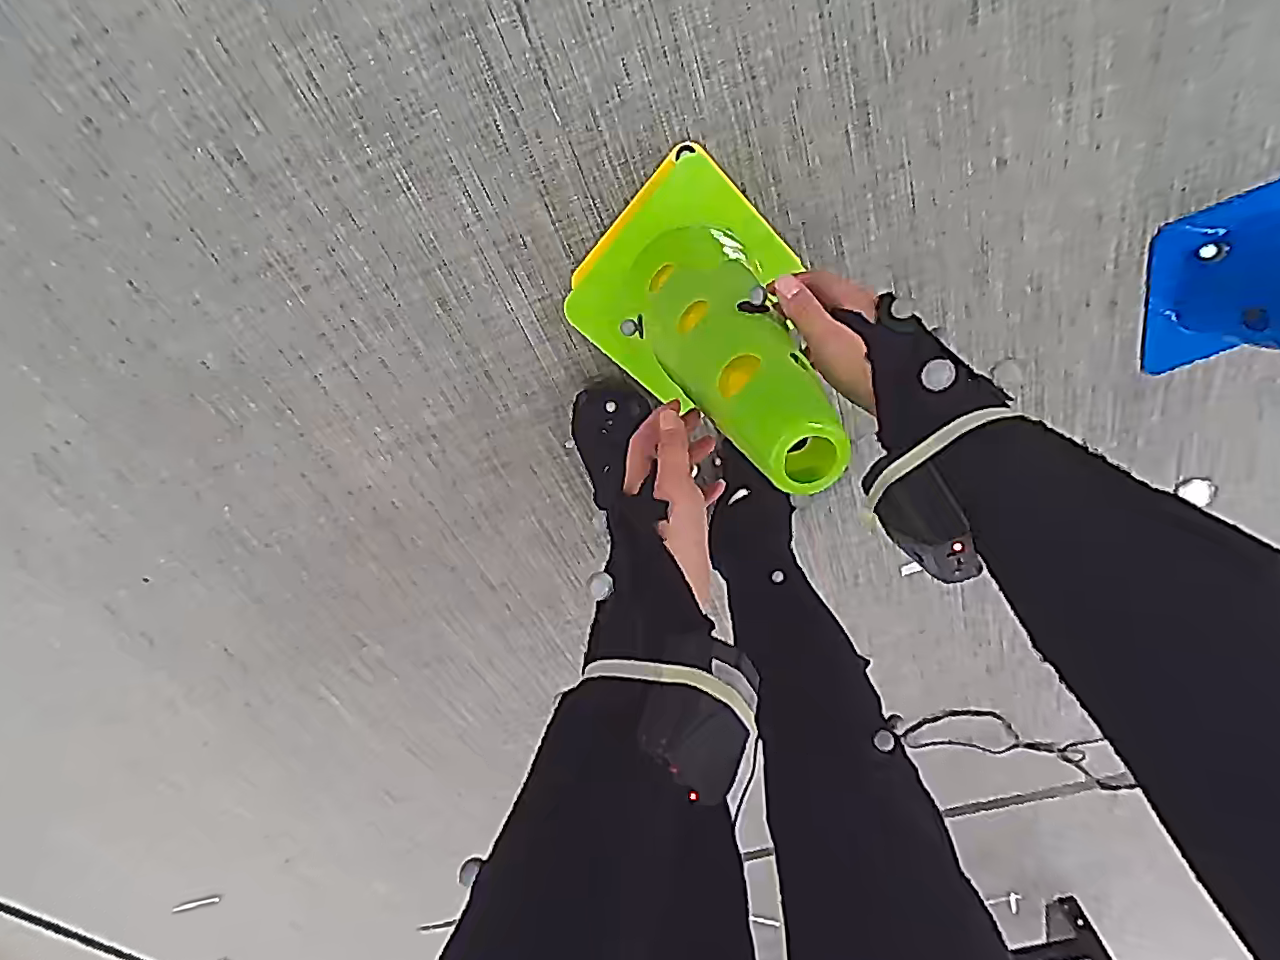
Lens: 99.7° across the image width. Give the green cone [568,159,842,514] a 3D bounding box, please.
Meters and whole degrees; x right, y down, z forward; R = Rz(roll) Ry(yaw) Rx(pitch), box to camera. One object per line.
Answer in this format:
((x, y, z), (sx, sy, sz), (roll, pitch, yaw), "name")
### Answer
((0.065, -0.093, 0.403), (0.200, 0.368, 0.202), (37, 111, -21), "green cone")
